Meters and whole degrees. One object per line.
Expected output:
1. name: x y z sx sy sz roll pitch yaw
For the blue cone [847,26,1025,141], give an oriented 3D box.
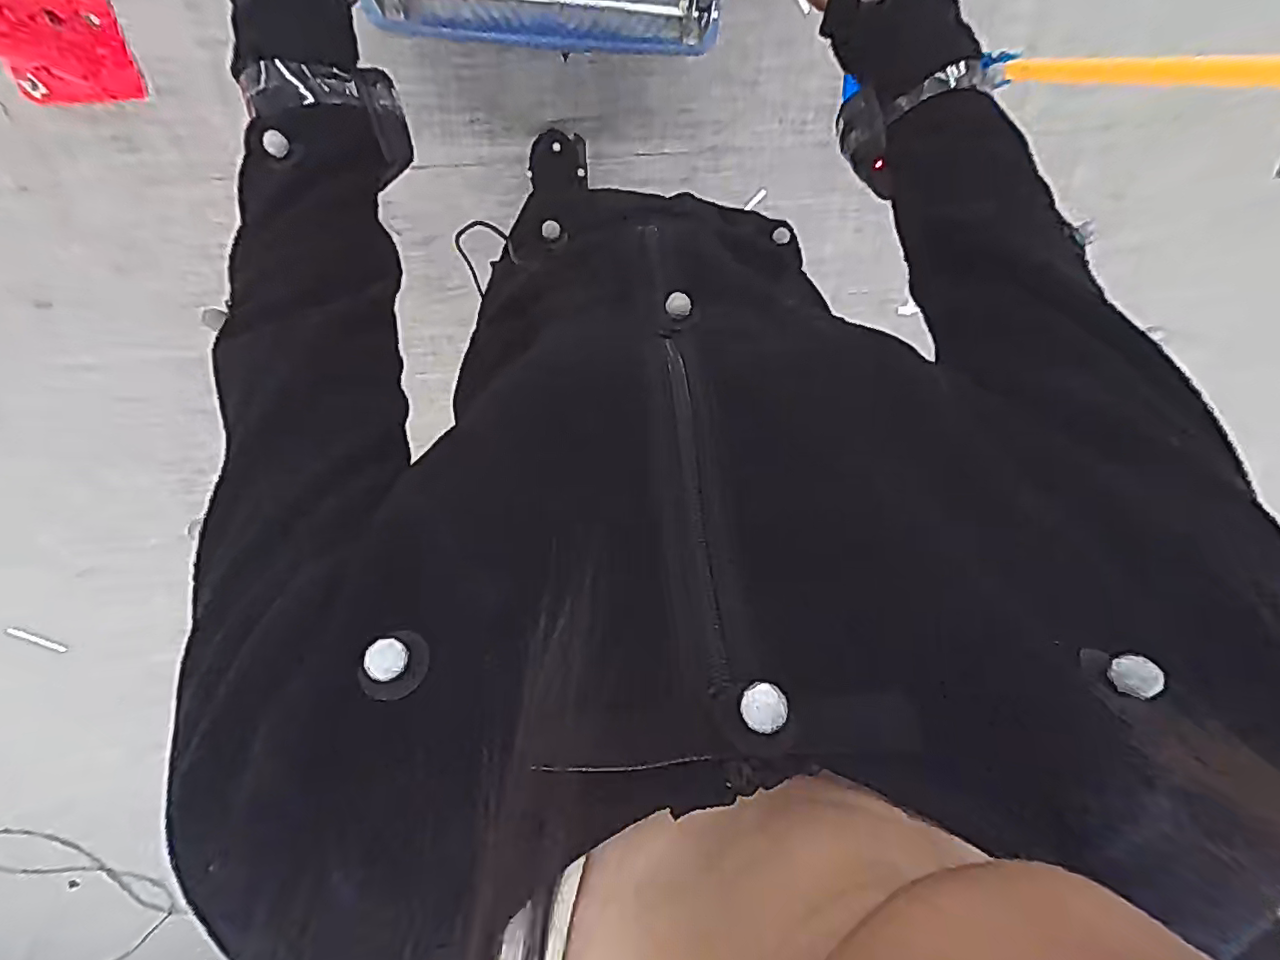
1. blue cone: 0.562 -0.762 1.017 0.193 0.380 0.192 -10 121 -5
